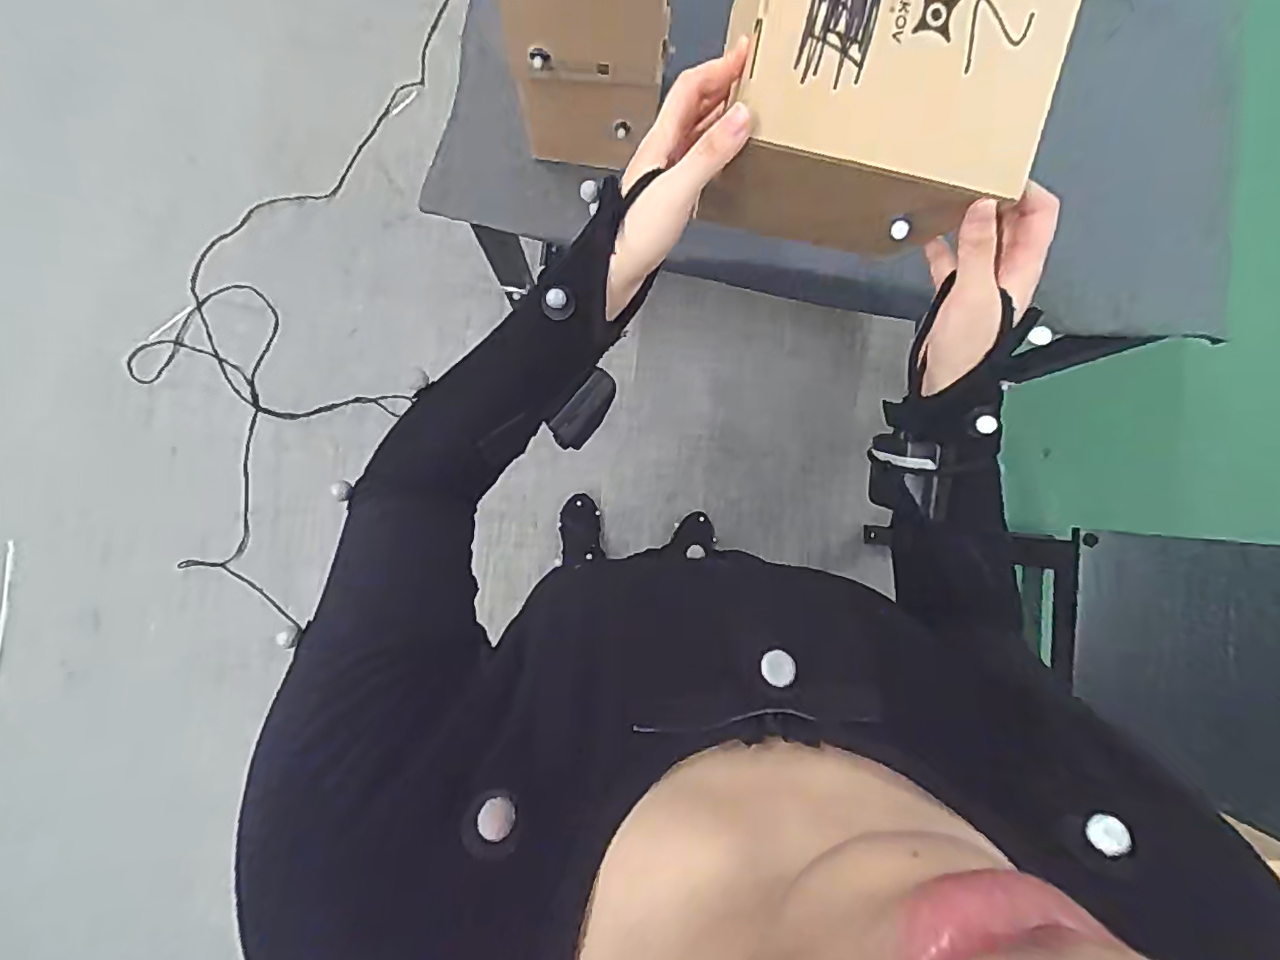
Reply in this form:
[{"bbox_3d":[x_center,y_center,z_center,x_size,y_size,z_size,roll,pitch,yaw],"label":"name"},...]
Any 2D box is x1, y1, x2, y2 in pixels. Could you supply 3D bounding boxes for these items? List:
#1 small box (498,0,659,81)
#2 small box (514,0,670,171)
[{"bbox_3d":[-0.060,-0.557,0.558,0.168,0.176,0.179,1,84,-3],"label":"small box"},{"bbox_3d":[-0.058,-0.546,0.723,0.179,0.176,0.168,5,85,-1],"label":"small box"}]
